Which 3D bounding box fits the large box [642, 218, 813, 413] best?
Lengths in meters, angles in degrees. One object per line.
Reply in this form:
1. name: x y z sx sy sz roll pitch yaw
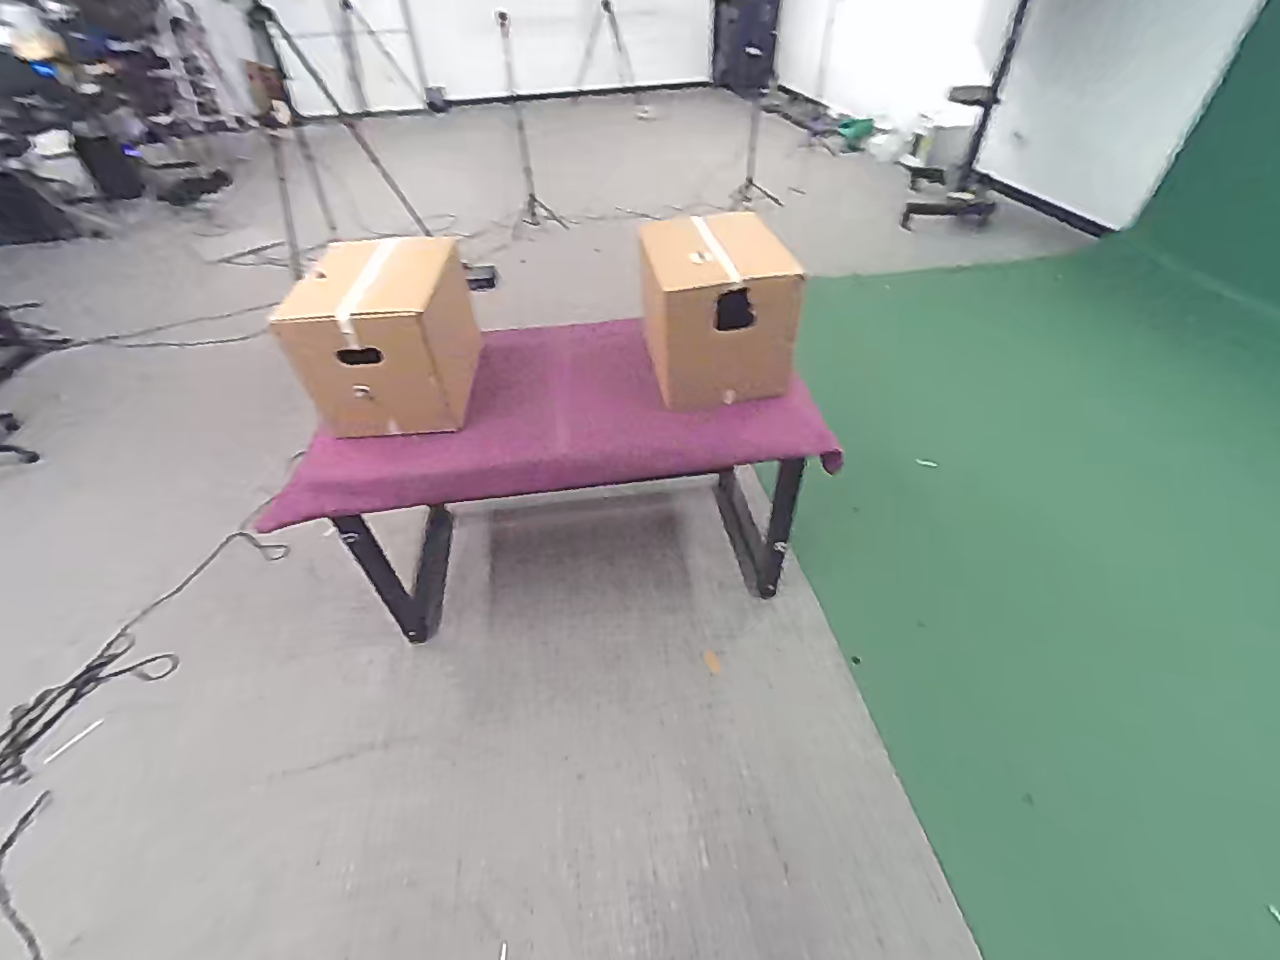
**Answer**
1. large box: 0.193 -0.425 1.374 0.320 0.320 0.408 -9 45 -3
